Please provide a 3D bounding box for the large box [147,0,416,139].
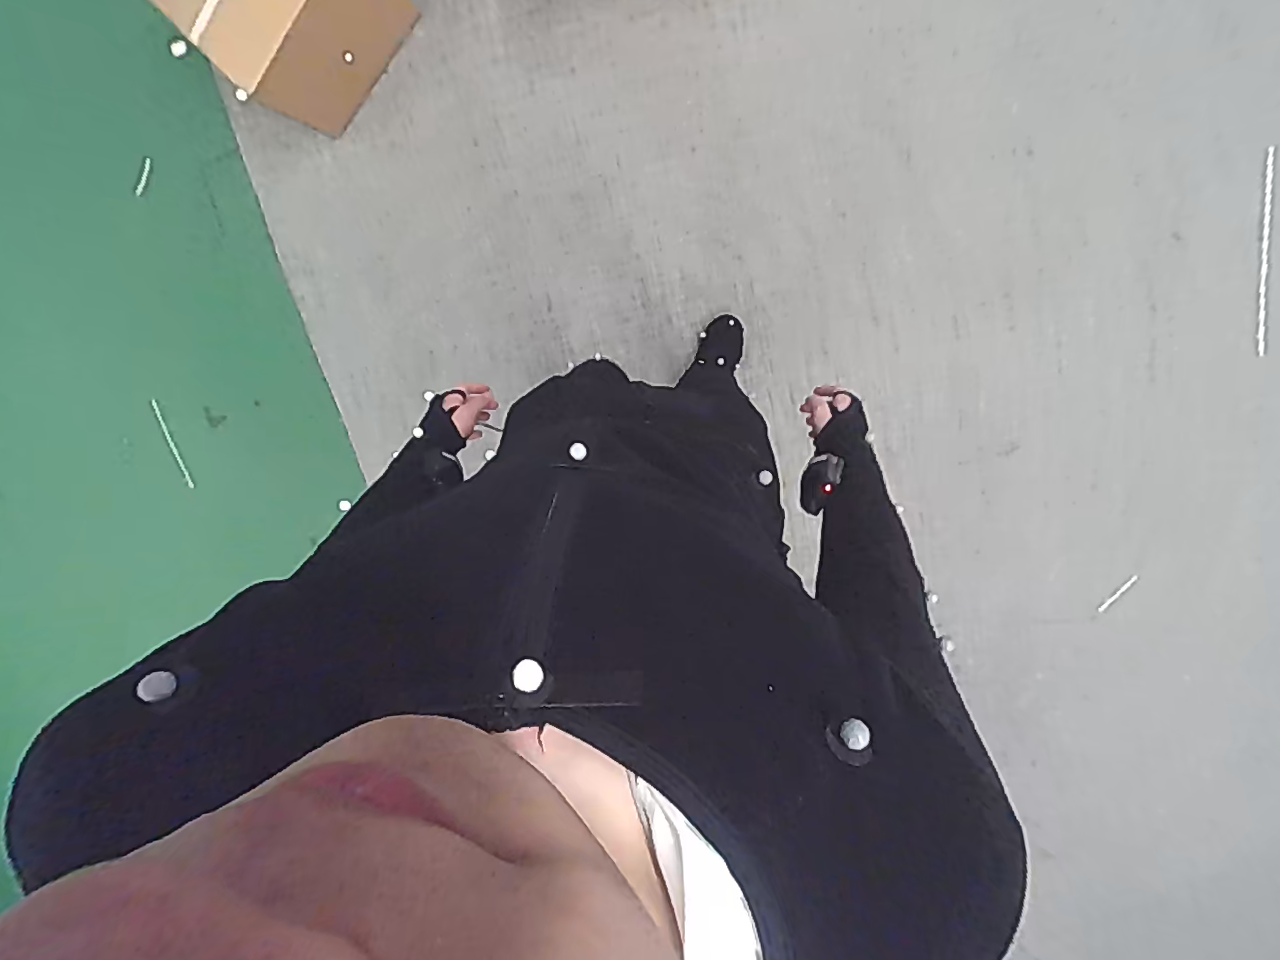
[{"bbox_3d":[-0.821,-1.124,1.273,0.408,0.320,0.320,-43,96,18],"label":"large box"}]
